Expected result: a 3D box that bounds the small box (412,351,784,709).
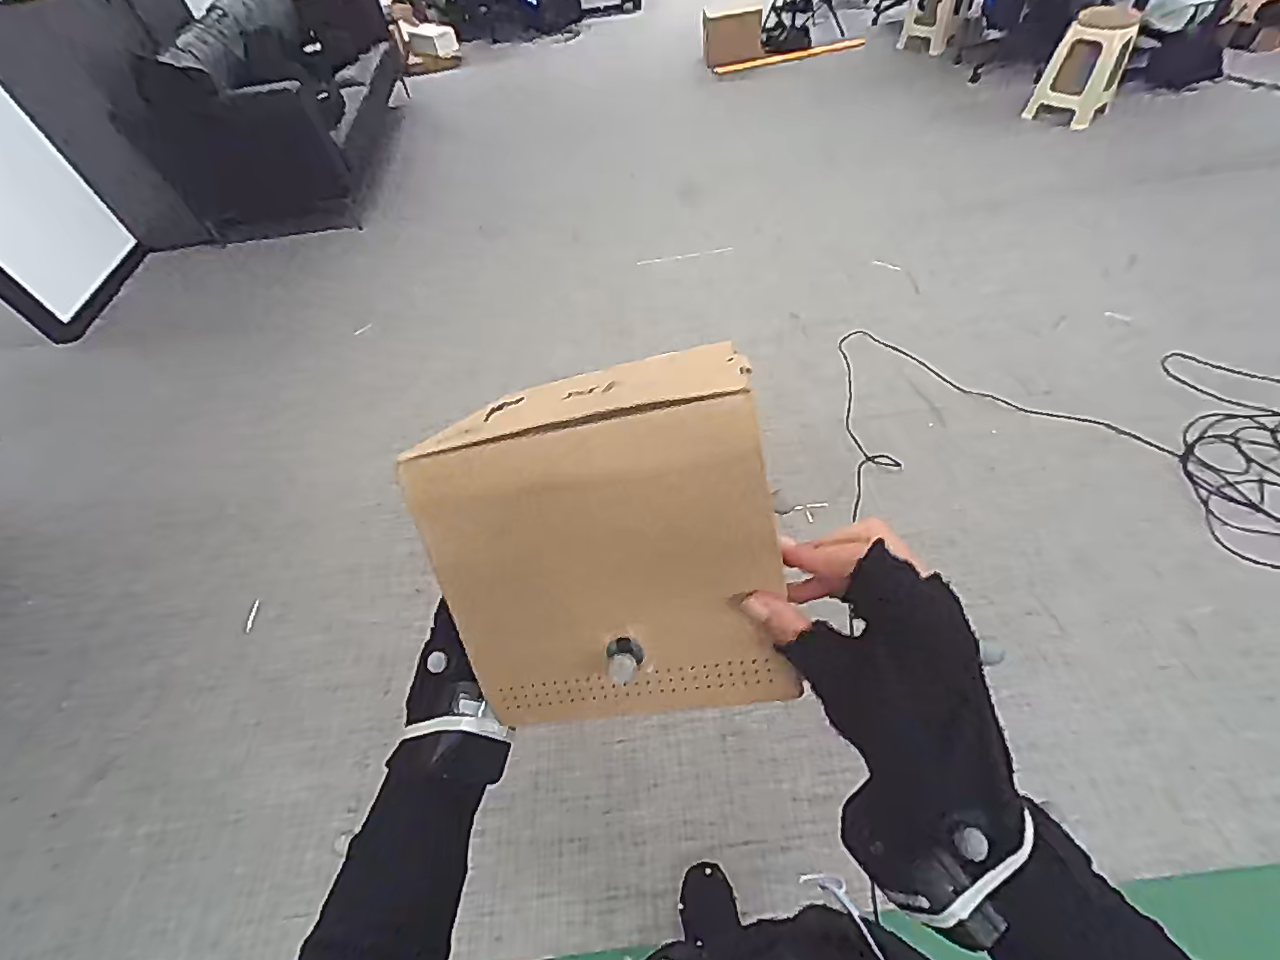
[{"bbox_3d":[-0.006,0.024,0.356,0.179,0.176,0.168,-10,17,10],"label":"small box"}]
